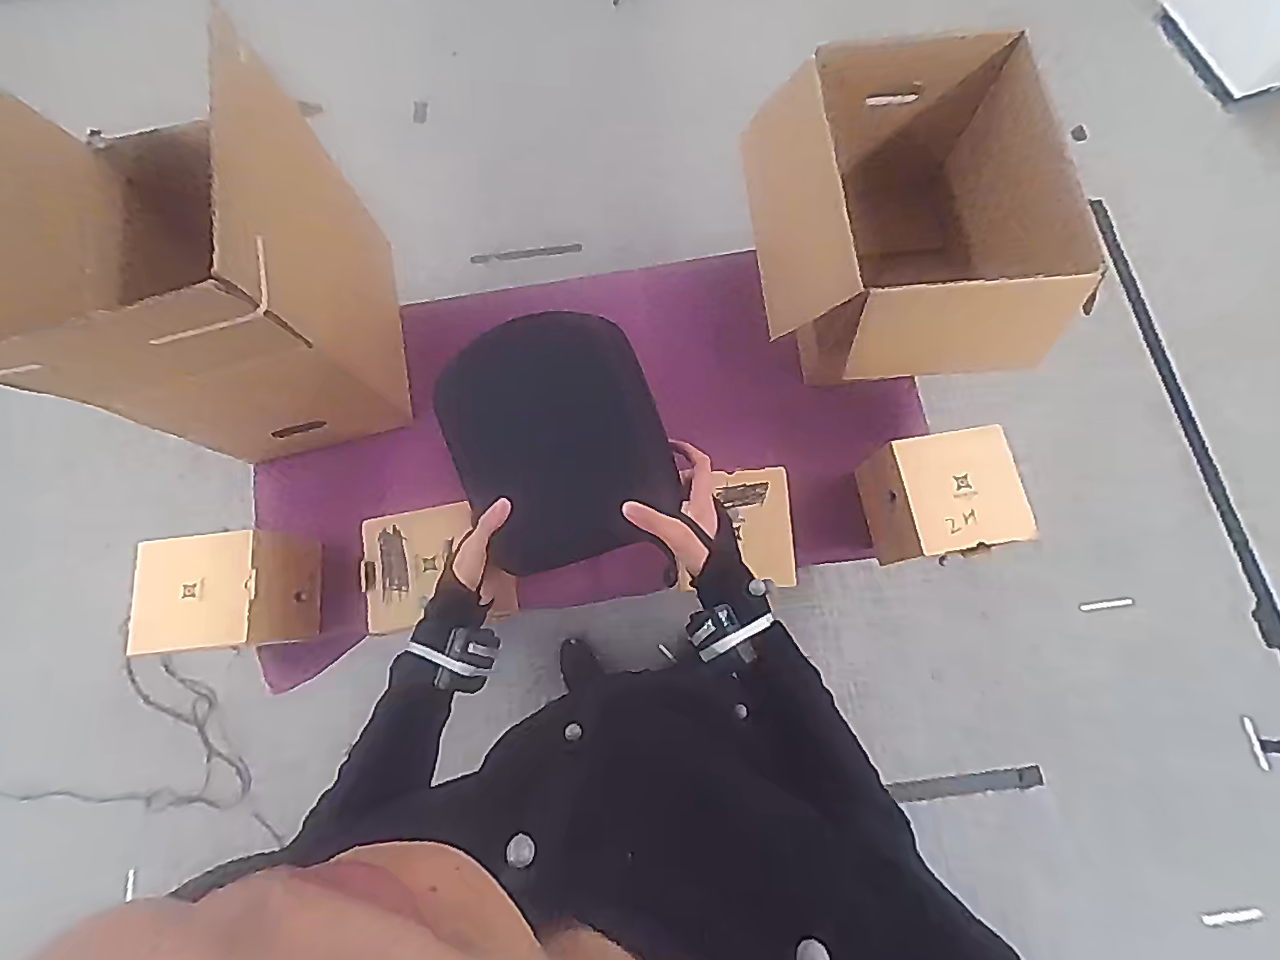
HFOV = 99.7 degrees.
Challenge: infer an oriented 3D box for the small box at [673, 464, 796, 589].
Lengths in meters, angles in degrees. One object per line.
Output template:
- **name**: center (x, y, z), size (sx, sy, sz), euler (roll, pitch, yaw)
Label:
- **small box**: center (0.139, 0.080, 0.857), size (0.168, 0.176, 0.179), euler (-2, 78, 2)

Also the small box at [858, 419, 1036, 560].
- **small box**: center (0.467, 0.023, 0.856), size (0.168, 0.176, 0.179), euler (-9, 76, 1)

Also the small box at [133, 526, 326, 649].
- **small box**: center (-0.640, 0.175, 0.863), size (0.179, 0.176, 0.168), euler (-7, 76, -1)
